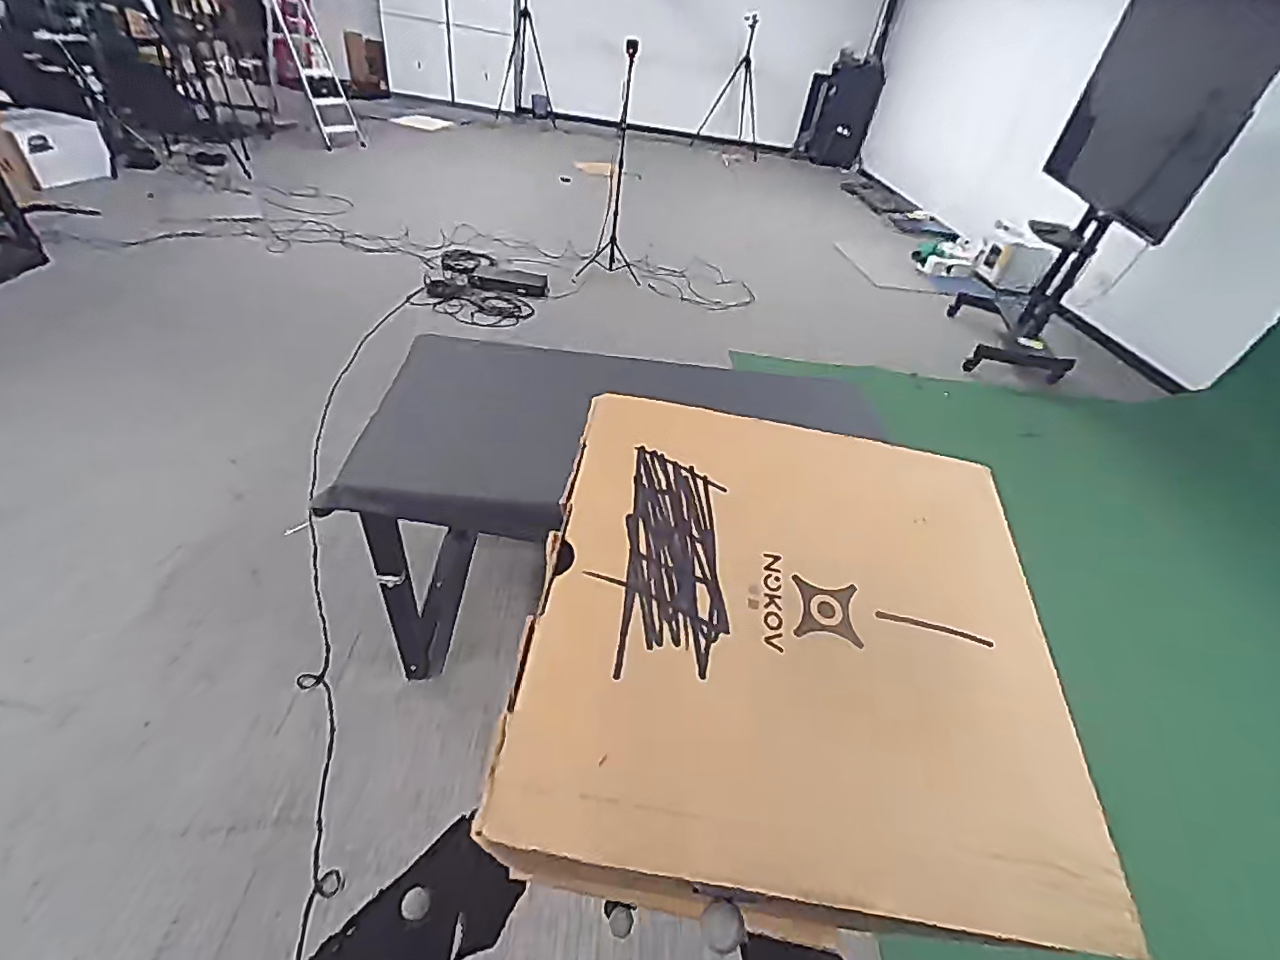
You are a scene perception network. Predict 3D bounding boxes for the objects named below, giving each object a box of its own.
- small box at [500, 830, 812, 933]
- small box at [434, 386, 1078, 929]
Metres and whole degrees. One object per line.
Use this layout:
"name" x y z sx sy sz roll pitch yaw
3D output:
"small box" 0.014 0.183 0.382 0.168 0.176 0.179 13 54 2
"small box" 0.033 0.085 0.252 0.179 0.176 0.168 11 53 0
